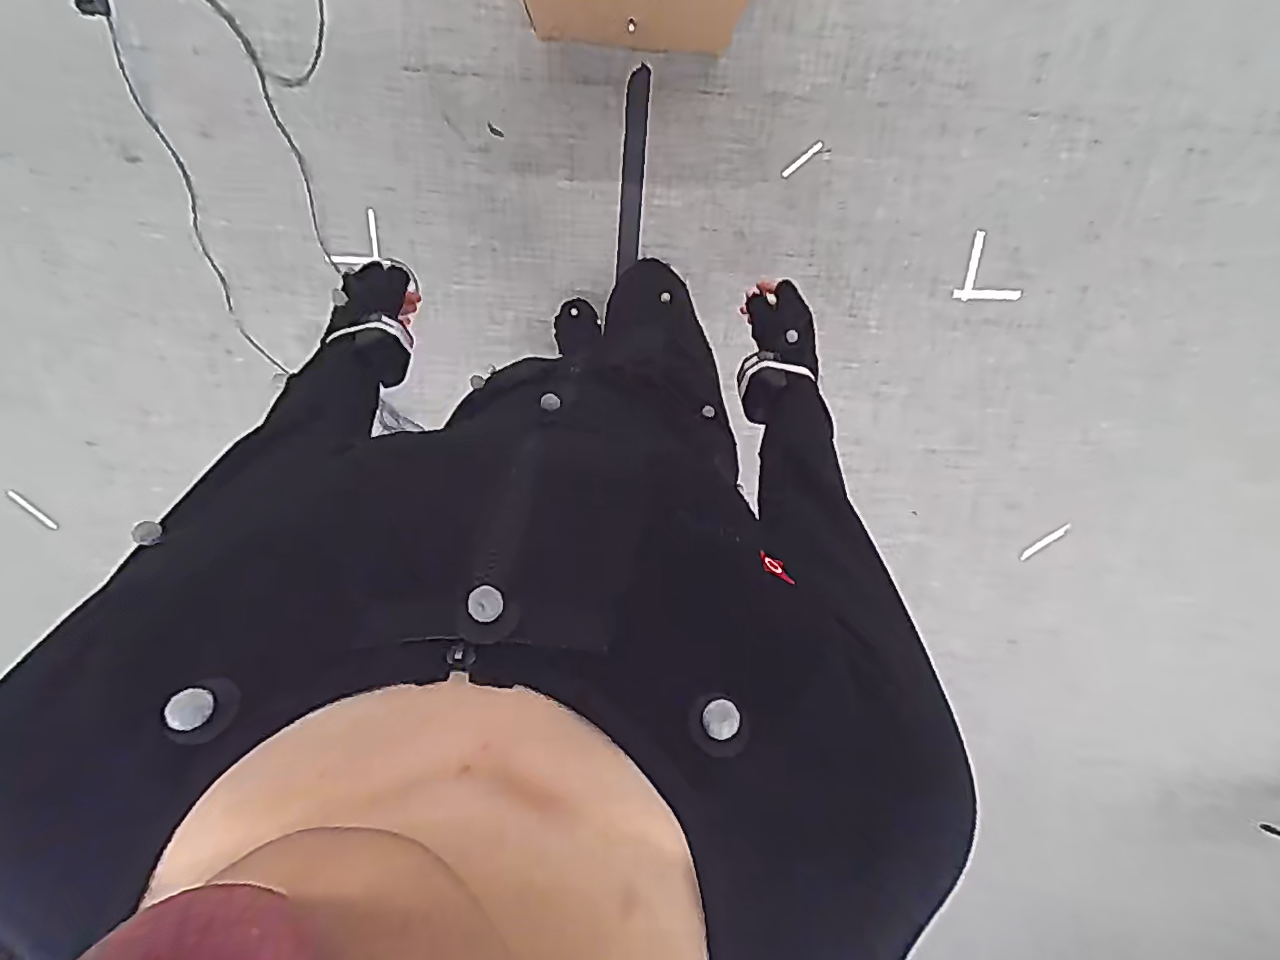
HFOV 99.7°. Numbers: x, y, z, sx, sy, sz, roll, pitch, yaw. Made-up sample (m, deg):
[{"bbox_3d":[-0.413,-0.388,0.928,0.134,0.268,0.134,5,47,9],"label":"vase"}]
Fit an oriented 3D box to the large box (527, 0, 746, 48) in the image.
[{"bbox_3d":[-0.004,-1.028,0.975,0.408,0.320,0.320,3,111,-3],"label":"large box"}]
